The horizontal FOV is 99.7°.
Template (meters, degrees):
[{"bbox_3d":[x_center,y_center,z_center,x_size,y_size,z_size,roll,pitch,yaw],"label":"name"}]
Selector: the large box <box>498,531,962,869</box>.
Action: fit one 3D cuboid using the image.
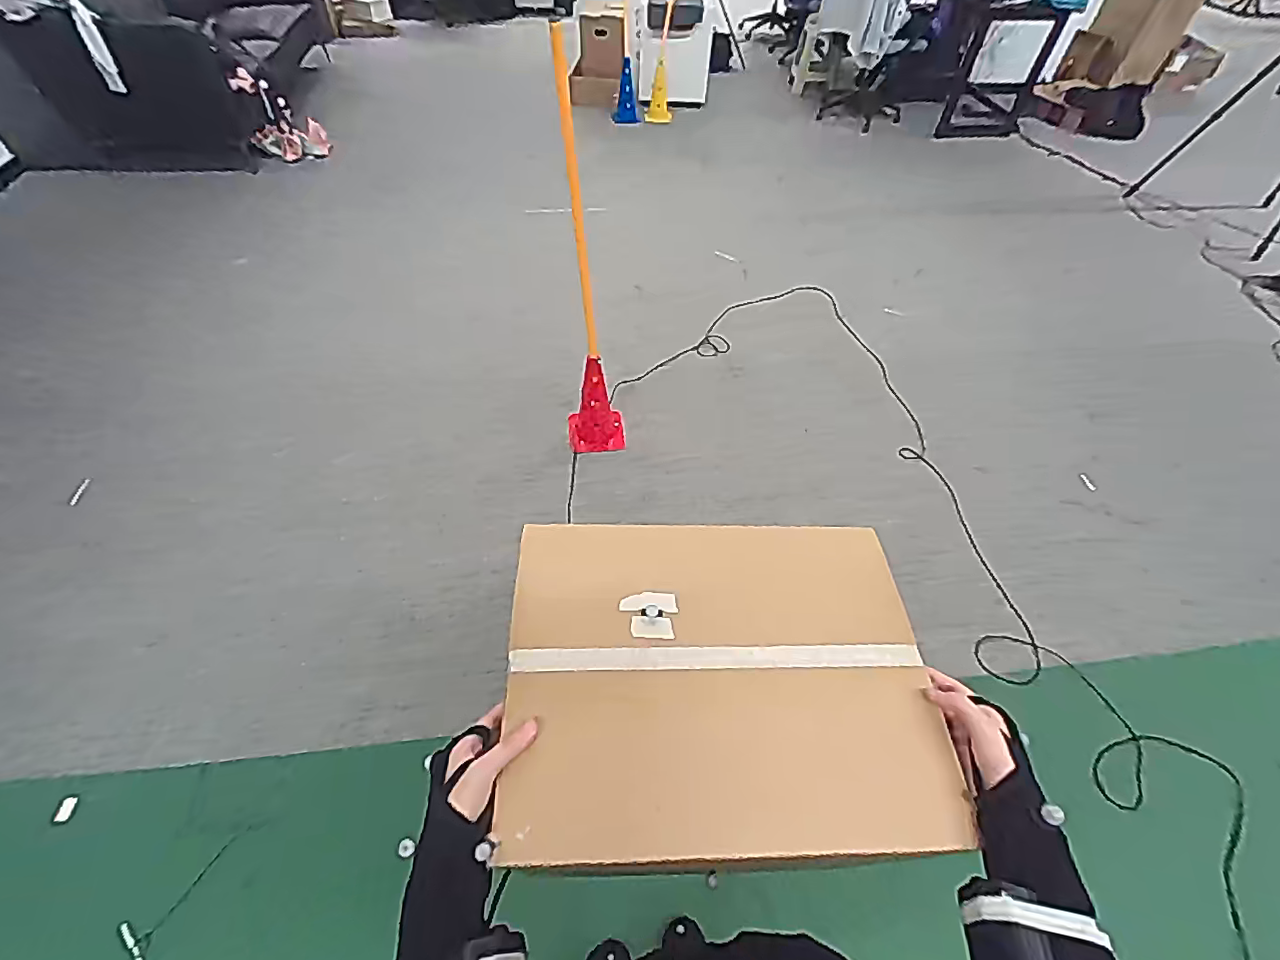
[{"bbox_3d":[0.069,0.272,0.656,0.408,0.320,0.320,0,52,-4],"label":"large box"}]
